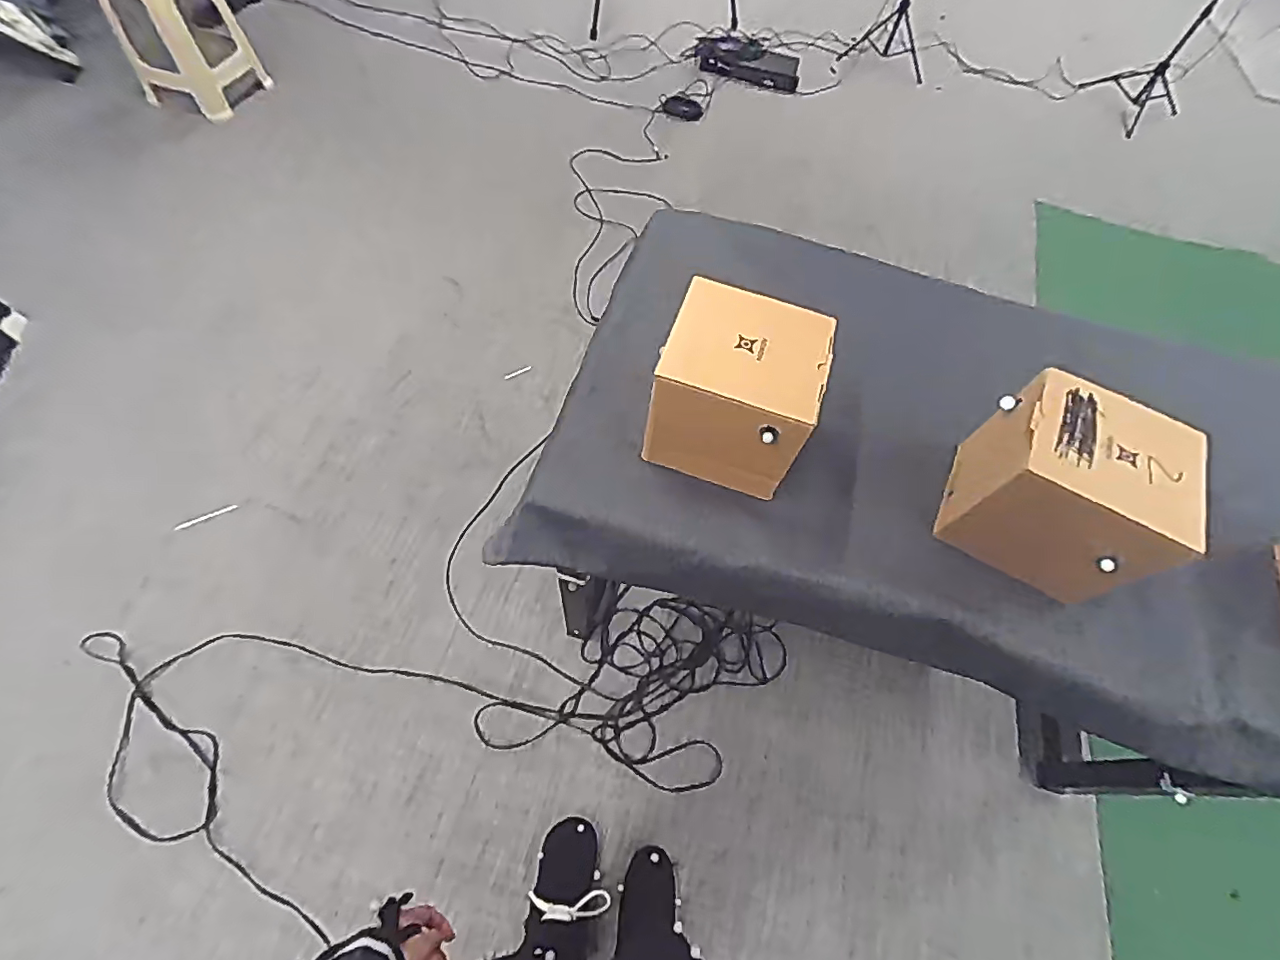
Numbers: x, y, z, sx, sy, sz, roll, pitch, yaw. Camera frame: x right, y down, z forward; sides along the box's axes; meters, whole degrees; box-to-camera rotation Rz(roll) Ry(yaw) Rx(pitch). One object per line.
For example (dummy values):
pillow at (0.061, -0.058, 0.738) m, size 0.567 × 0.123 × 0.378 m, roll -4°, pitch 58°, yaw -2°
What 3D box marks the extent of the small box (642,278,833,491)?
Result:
small box at (0.110, -0.108, 0.662) m, size 0.179 × 0.176 × 0.168 m, roll 18°, pitch 60°, yaw 4°
